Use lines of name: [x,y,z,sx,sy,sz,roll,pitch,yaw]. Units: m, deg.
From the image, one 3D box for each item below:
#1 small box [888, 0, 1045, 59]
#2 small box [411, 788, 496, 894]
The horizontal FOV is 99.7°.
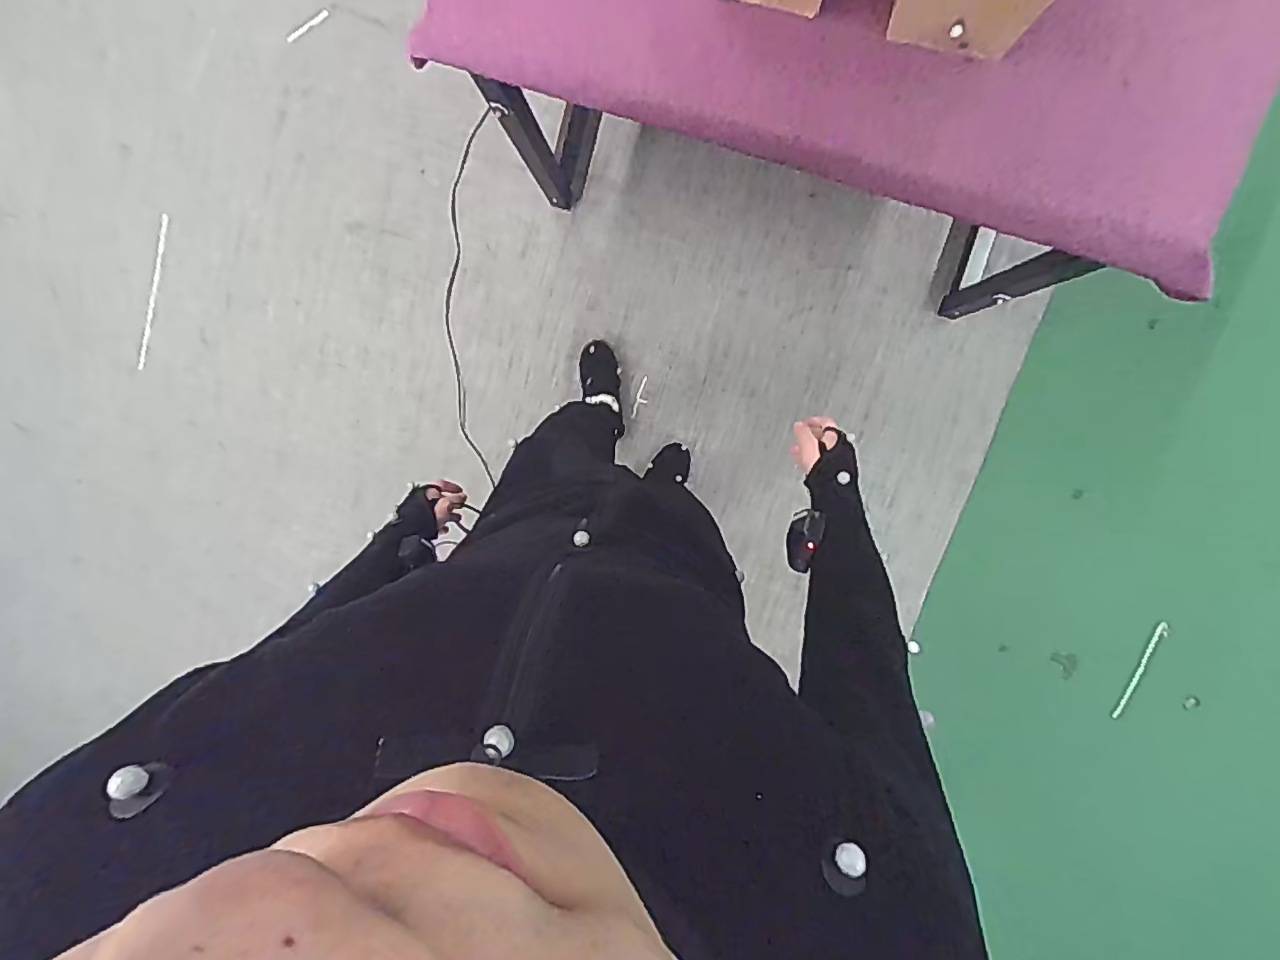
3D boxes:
small box: [0.442,-0.694,0.686,0.168,0.176,0.179,14,98,2]
small box: [-0.560,1.093,1.648,0.168,0.176,0.179,22,98,-1]
